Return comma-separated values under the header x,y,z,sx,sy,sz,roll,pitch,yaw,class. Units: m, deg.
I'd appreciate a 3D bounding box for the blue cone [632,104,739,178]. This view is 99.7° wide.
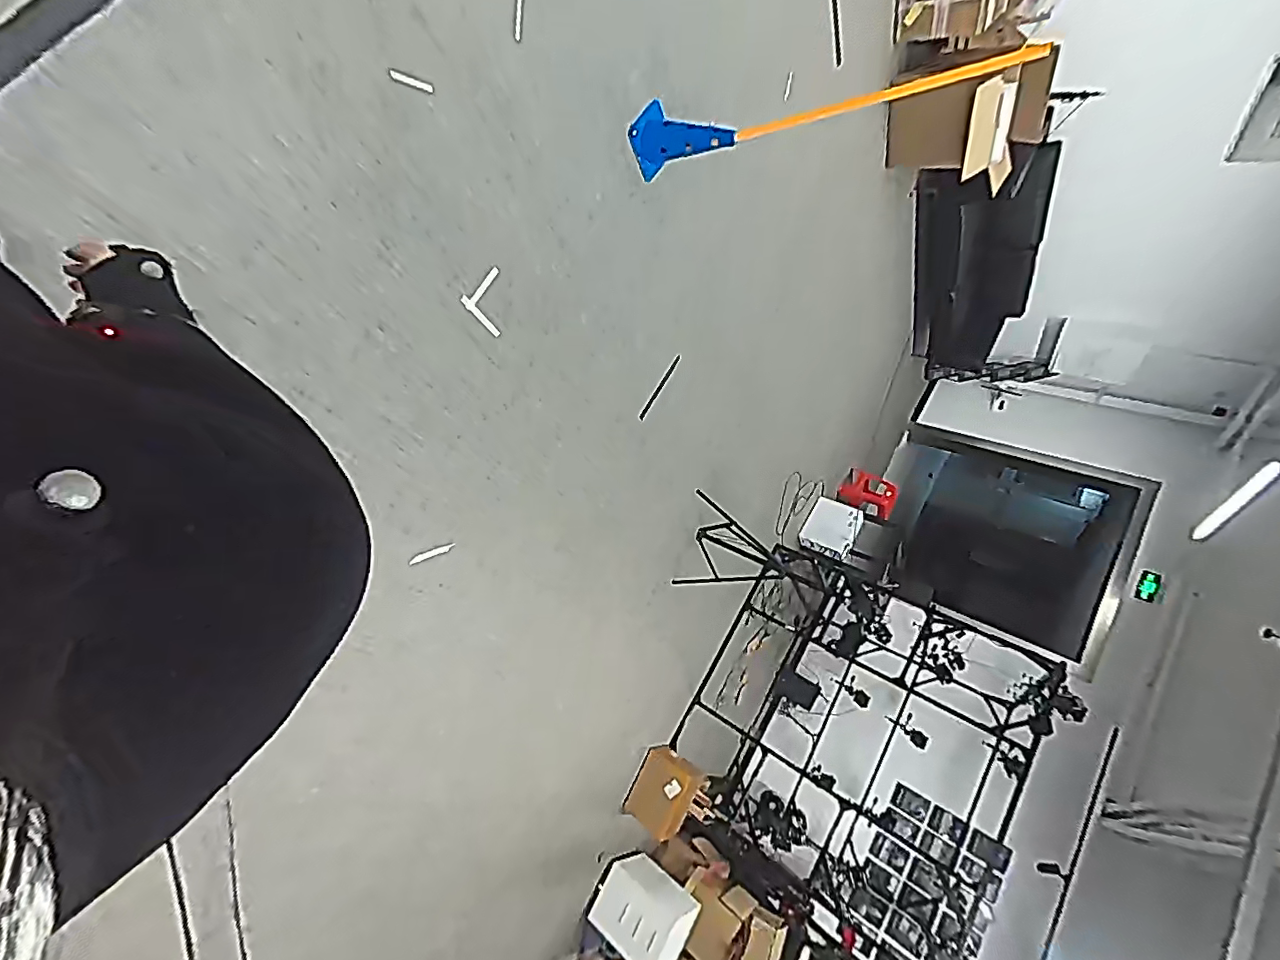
x,y,z,sx,sy,sz,roll,pitch,yaw,class
0.175,-1.174,1.864,0.192,0.380,0.193,-55,144,-16,blue cone
